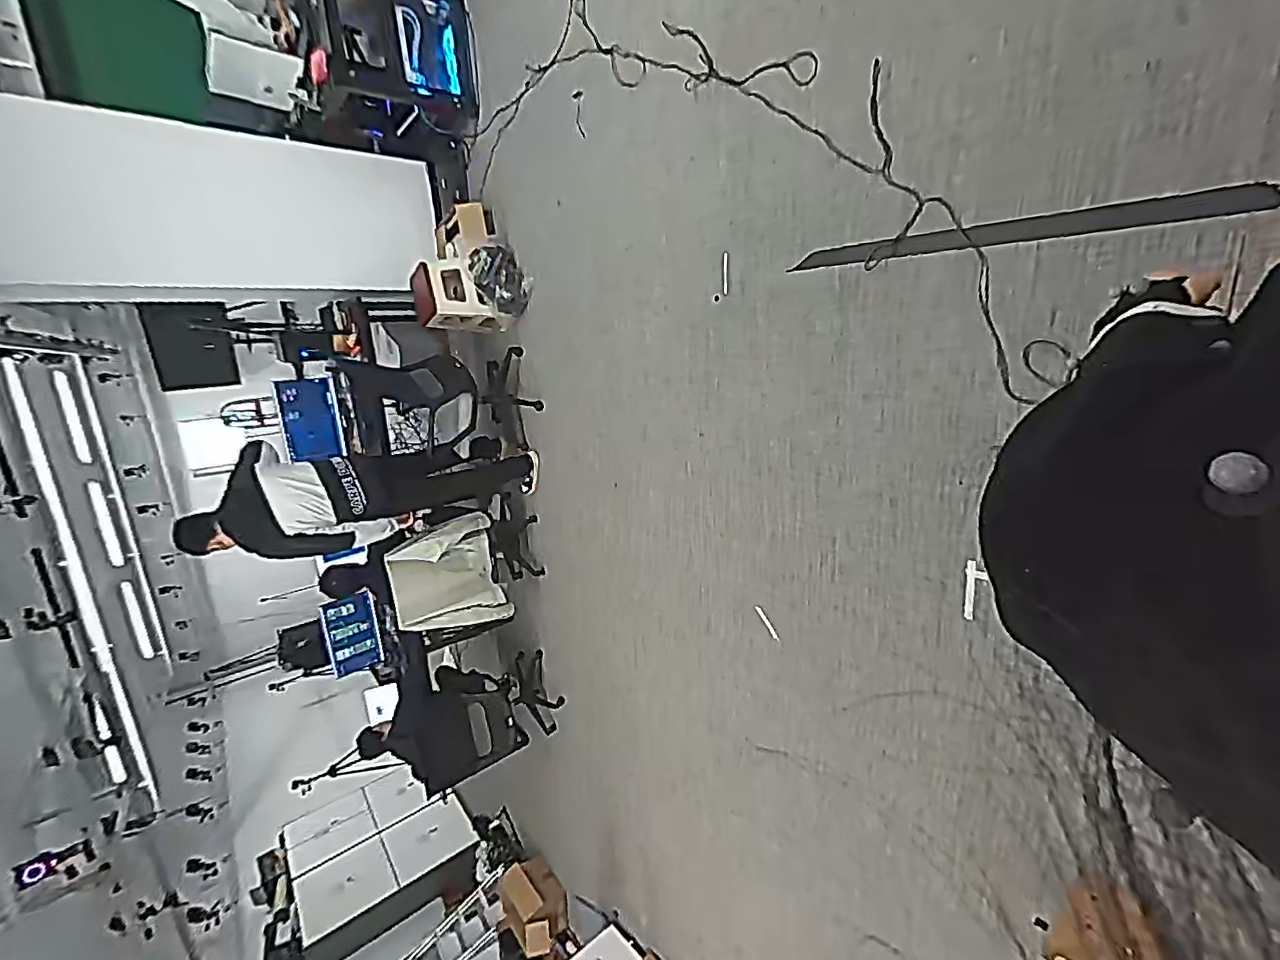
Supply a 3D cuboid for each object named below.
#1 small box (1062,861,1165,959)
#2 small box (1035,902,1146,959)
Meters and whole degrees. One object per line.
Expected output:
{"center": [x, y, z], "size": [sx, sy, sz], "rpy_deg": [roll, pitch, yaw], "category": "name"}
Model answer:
{"center": [1.148, 1.092, 1.318], "size": [0.168, 0.176, 0.179], "rpy_deg": [9, 110, 52], "category": "small box"}
{"center": [1.016, 1.125, 1.225], "size": [0.168, 0.176, 0.179], "rpy_deg": [11, 111, 51], "category": "small box"}
